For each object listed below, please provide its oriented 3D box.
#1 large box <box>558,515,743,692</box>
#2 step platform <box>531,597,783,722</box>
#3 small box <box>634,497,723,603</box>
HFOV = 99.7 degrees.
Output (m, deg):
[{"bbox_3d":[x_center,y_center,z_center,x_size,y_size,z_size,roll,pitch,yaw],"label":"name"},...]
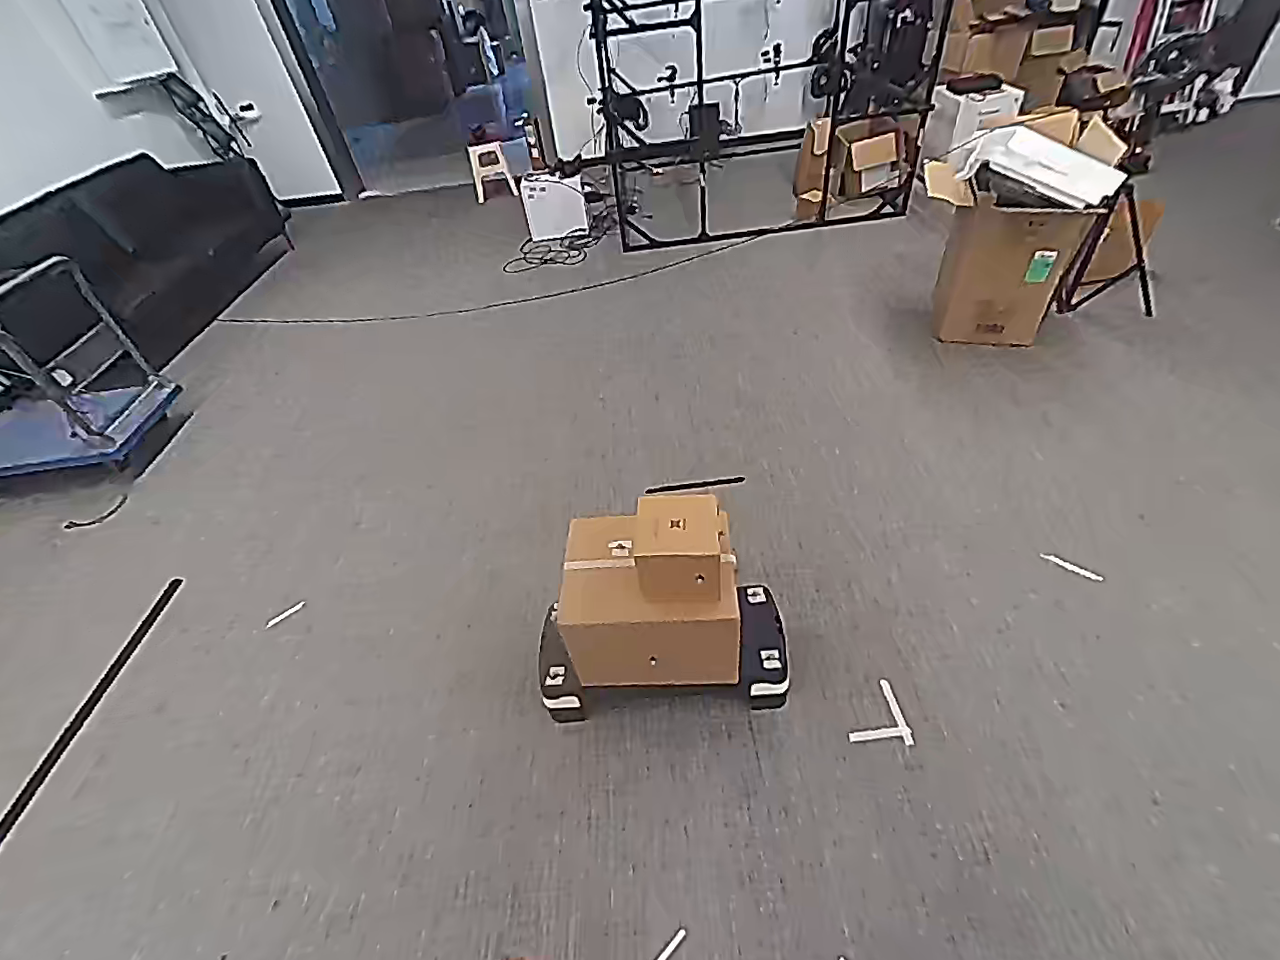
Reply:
[{"bbox_3d":[0.039,0.316,1.363,0.408,0.320,0.320,-5,43,6],"label":"large box"},{"bbox_3d":[0.046,0.496,1.521,0.684,0.204,0.286,-3,44,8],"label":"step platform"},{"bbox_3d":[0.089,0.152,1.169,0.179,0.176,0.168,-2,45,8],"label":"small box"}]
